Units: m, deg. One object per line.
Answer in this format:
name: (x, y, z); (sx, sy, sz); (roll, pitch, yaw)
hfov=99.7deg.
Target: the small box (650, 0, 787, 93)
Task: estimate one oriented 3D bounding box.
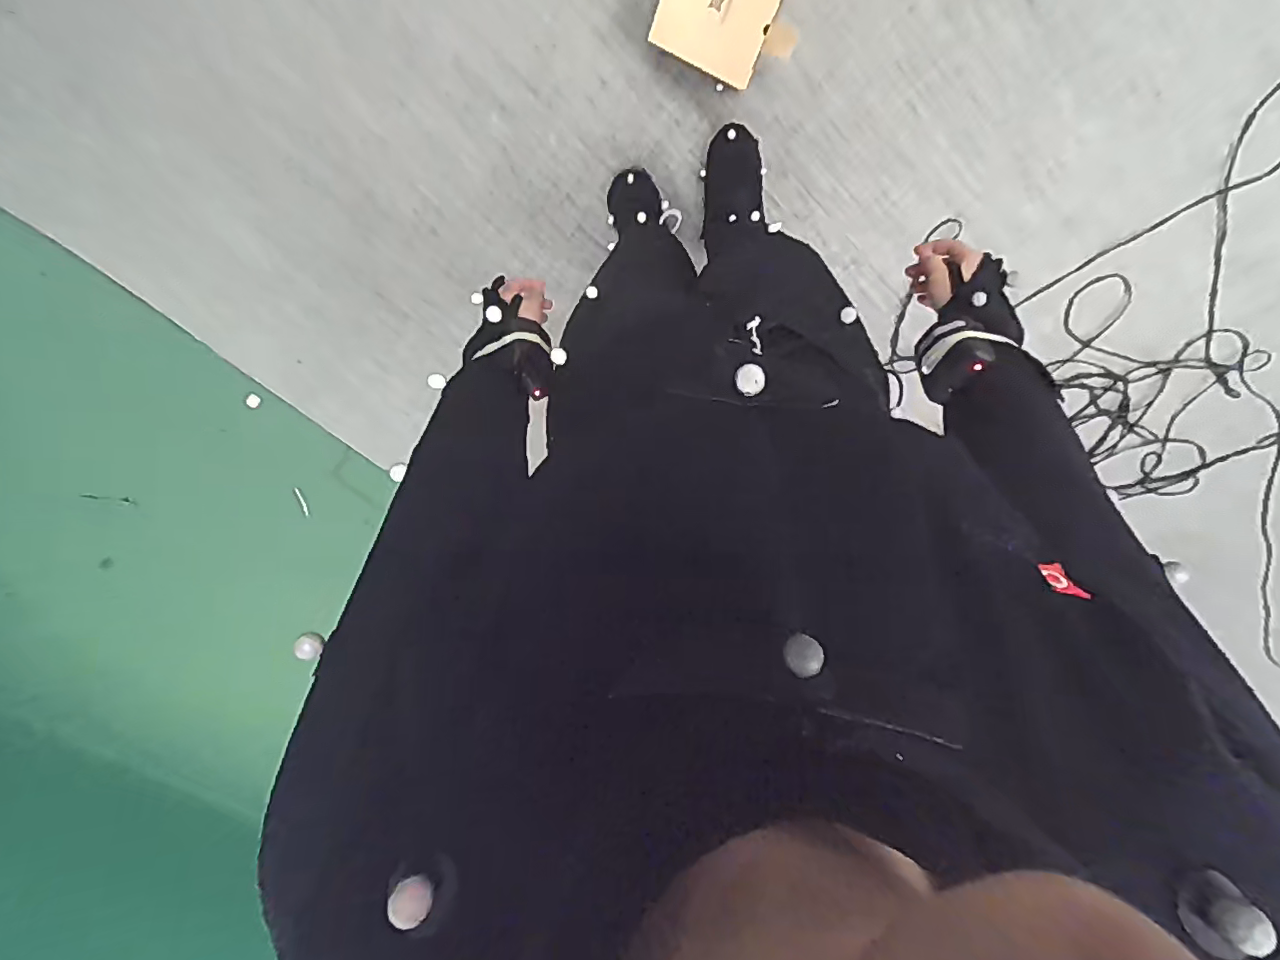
small box: (0.132, -0.766, 0.891); (0.179, 0.176, 0.168); (21, 126, -9)
